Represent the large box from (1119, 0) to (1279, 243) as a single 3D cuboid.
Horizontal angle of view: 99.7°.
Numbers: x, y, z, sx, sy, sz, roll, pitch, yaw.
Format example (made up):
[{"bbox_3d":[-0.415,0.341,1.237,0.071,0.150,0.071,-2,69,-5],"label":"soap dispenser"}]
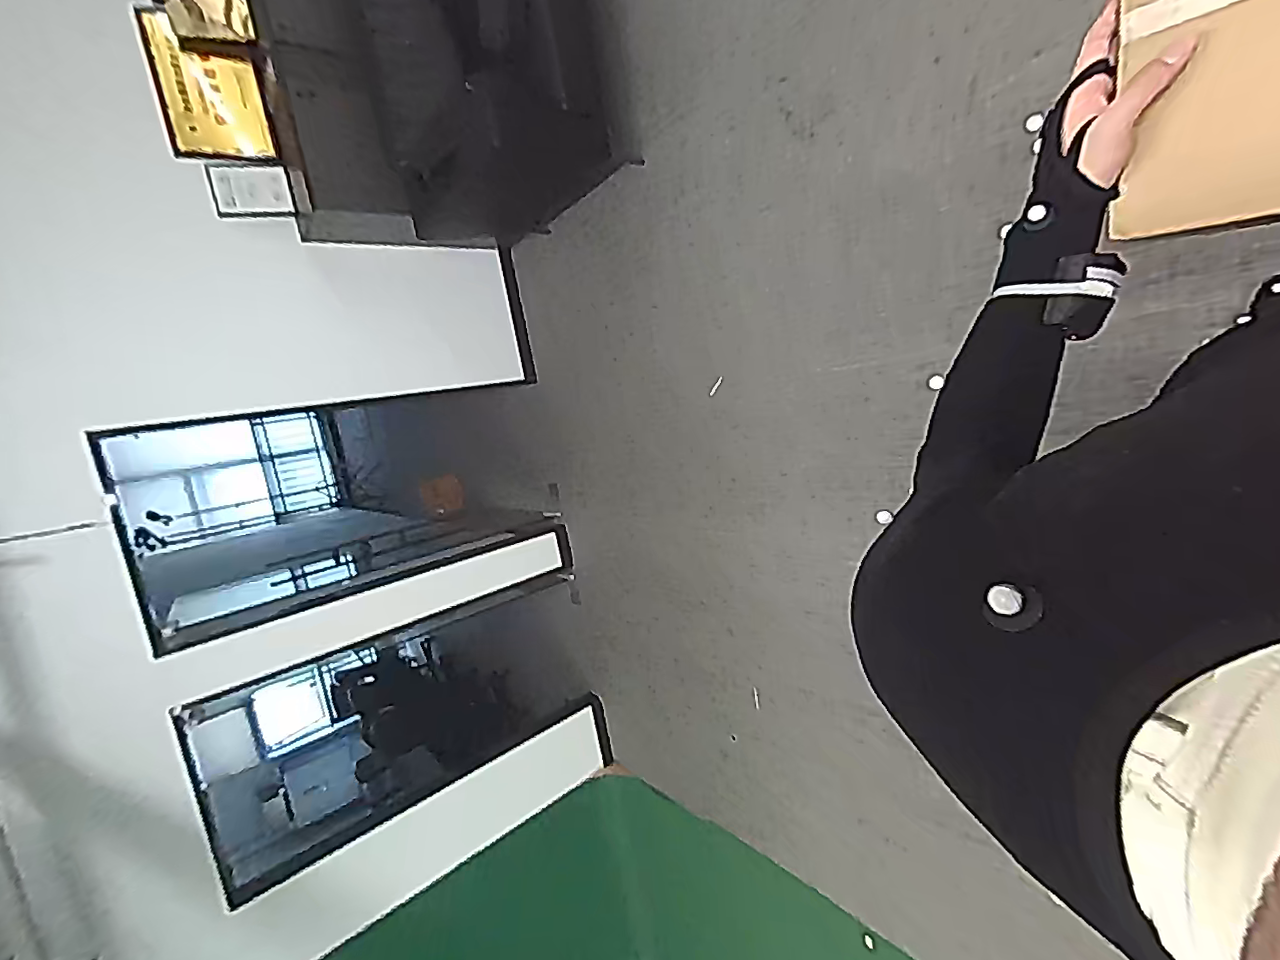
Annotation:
[{"bbox_3d":[0.629,-0.378,0.379,0.408,0.320,0.320,8,112,48],"label":"large box"}]
